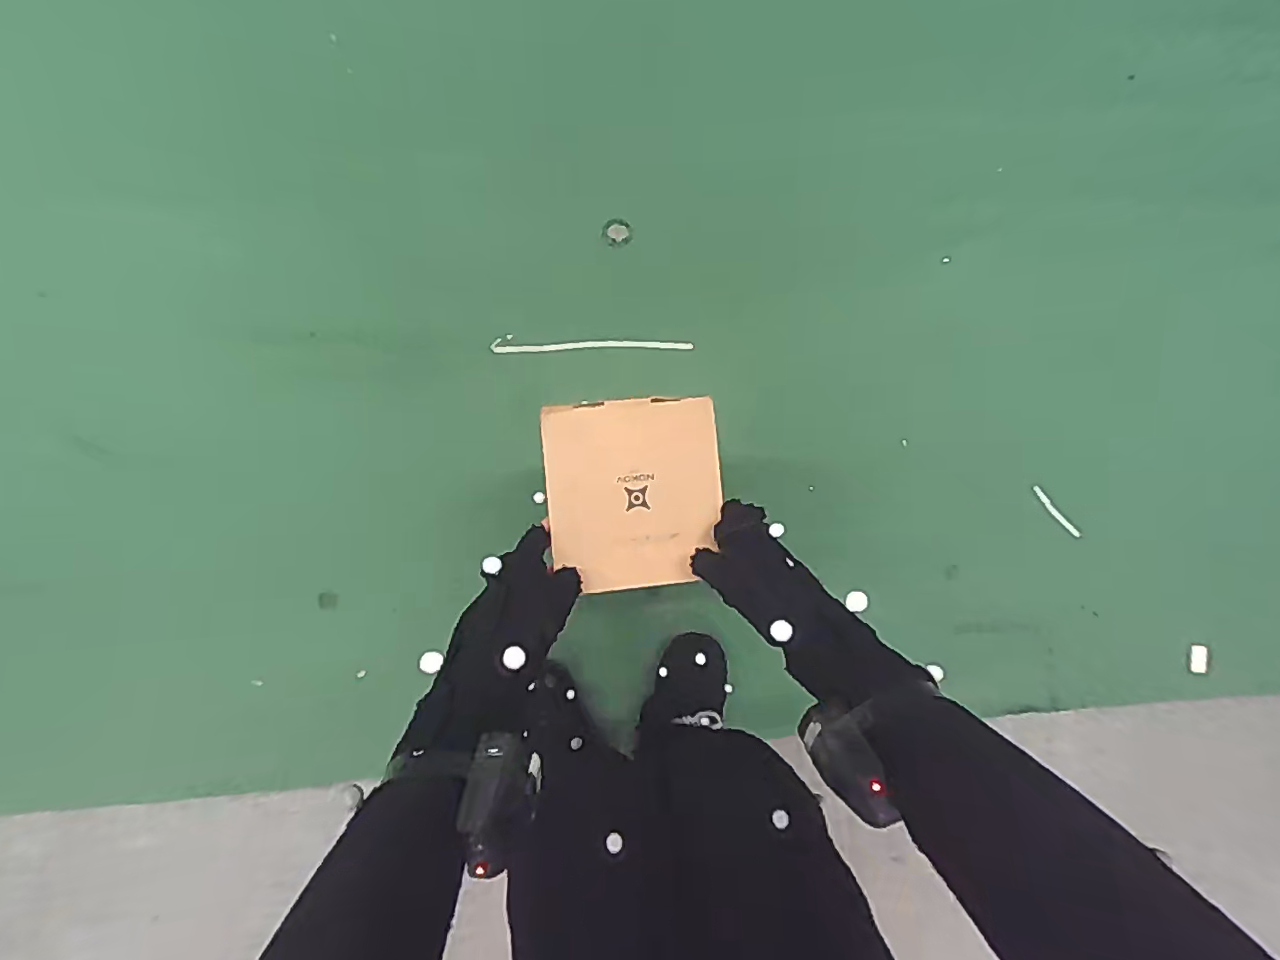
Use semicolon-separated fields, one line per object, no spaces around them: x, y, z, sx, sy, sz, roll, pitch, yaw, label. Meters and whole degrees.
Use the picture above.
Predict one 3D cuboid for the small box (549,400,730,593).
-0.011;0.017;0.598;0.168;0.176;0.179;-6;89;-7;small box
